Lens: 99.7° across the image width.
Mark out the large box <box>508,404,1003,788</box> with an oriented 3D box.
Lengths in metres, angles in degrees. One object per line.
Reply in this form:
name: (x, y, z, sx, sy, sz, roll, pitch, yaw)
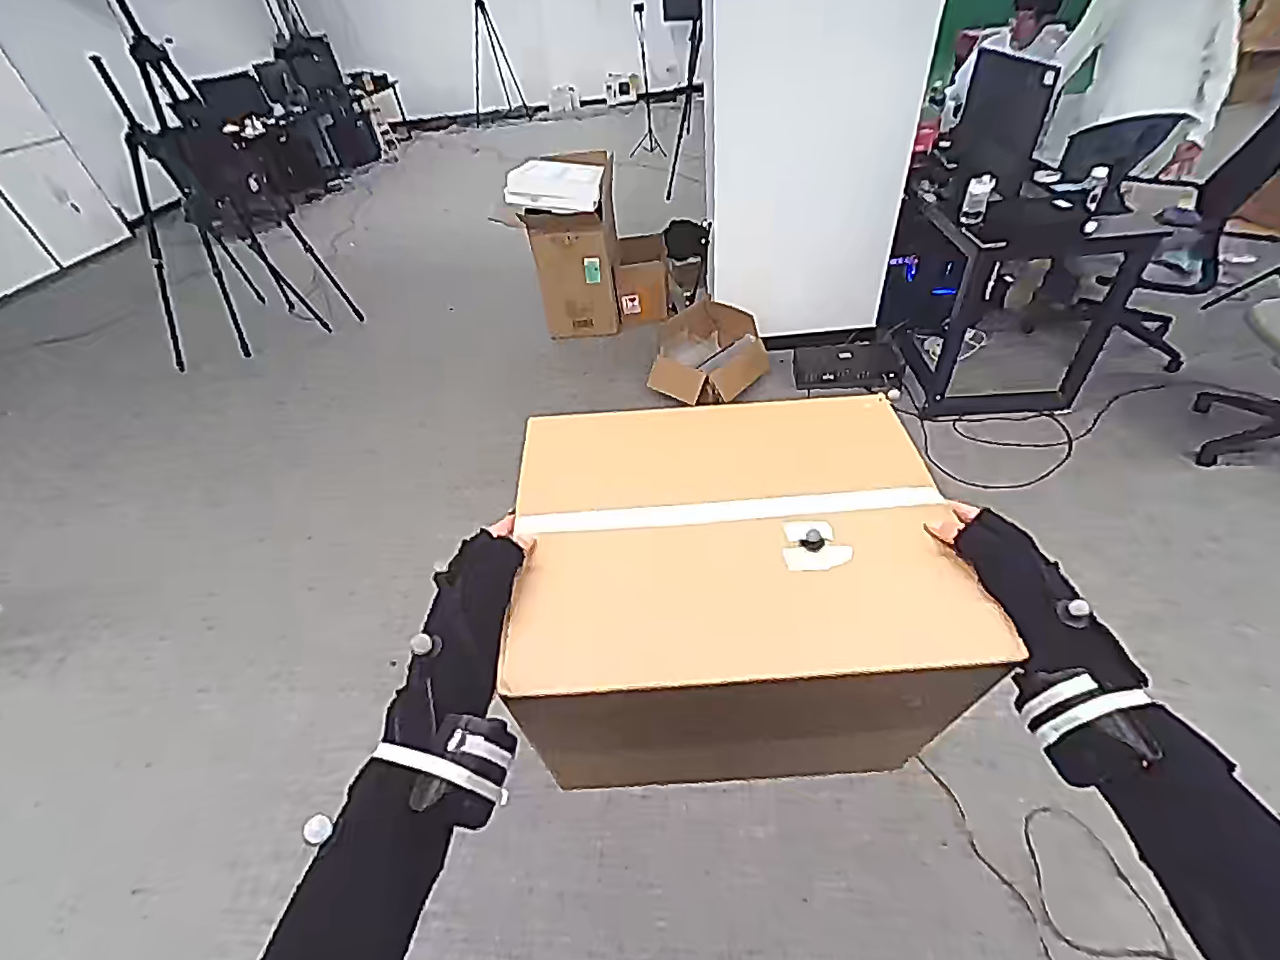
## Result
large box: (0.088, 0.138, 0.633, 0.408, 0.320, 0.320, -4, 48, 0)
